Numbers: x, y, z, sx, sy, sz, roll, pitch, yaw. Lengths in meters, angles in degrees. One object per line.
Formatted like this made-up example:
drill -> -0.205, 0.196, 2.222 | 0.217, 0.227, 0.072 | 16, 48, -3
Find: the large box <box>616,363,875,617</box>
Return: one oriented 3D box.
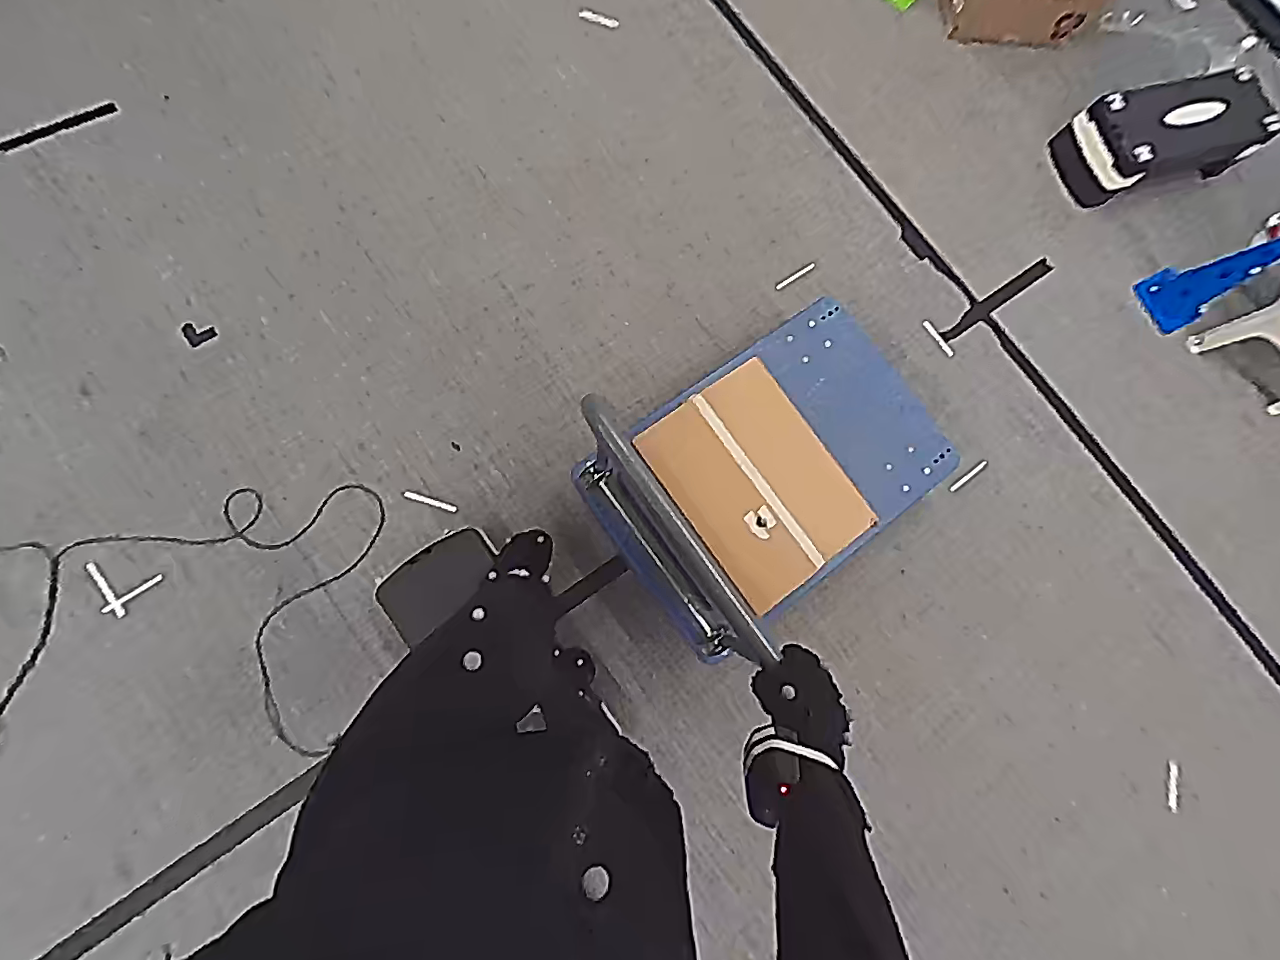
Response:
large box -> 0.197, 0.032, 1.168 | 0.320, 0.320, 0.408 | -35, 87, -12
